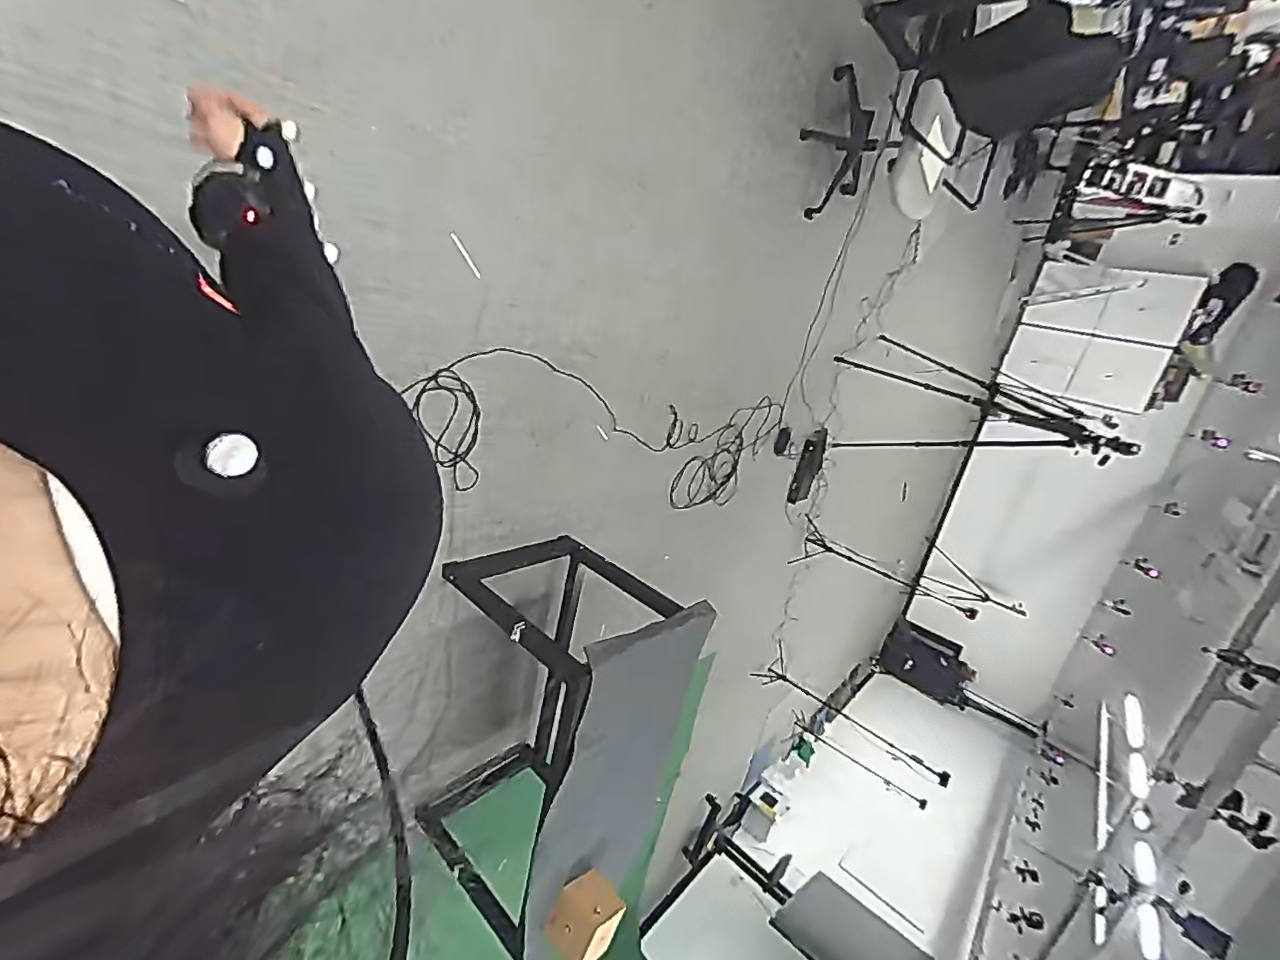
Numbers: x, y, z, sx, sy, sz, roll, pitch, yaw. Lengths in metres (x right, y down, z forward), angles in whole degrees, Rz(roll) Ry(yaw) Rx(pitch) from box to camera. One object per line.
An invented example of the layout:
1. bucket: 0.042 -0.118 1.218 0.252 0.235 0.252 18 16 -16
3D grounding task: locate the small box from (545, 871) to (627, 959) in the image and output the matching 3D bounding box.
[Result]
1. small box: -0.179 1.444 1.774 0.179 0.176 0.168 24 91 -56
